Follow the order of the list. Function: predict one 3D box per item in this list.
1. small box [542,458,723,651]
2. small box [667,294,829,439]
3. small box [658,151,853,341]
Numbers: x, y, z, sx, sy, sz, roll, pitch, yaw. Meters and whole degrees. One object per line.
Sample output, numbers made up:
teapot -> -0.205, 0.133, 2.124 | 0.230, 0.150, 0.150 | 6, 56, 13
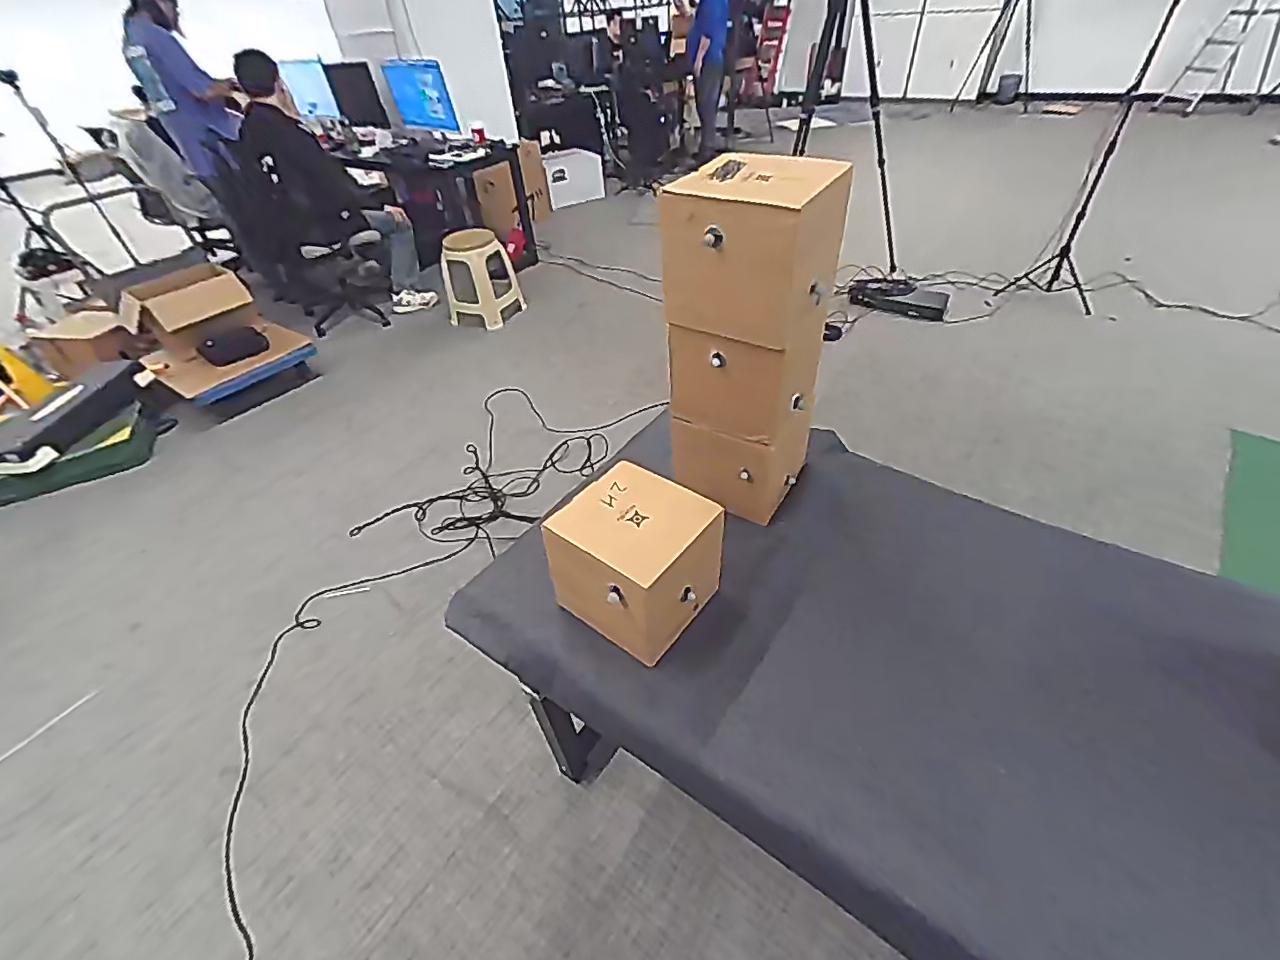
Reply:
small box -> -0.006, 0.105, 0.743 | 0.179, 0.176, 0.168 | 26, 48, 29
small box -> 0.156, -0.185, 0.805 | 0.179, 0.176, 0.168 | 22, 51, 25
small box -> 0.141, -0.297, 0.685 | 0.179, 0.176, 0.168 | 23, 52, 26
